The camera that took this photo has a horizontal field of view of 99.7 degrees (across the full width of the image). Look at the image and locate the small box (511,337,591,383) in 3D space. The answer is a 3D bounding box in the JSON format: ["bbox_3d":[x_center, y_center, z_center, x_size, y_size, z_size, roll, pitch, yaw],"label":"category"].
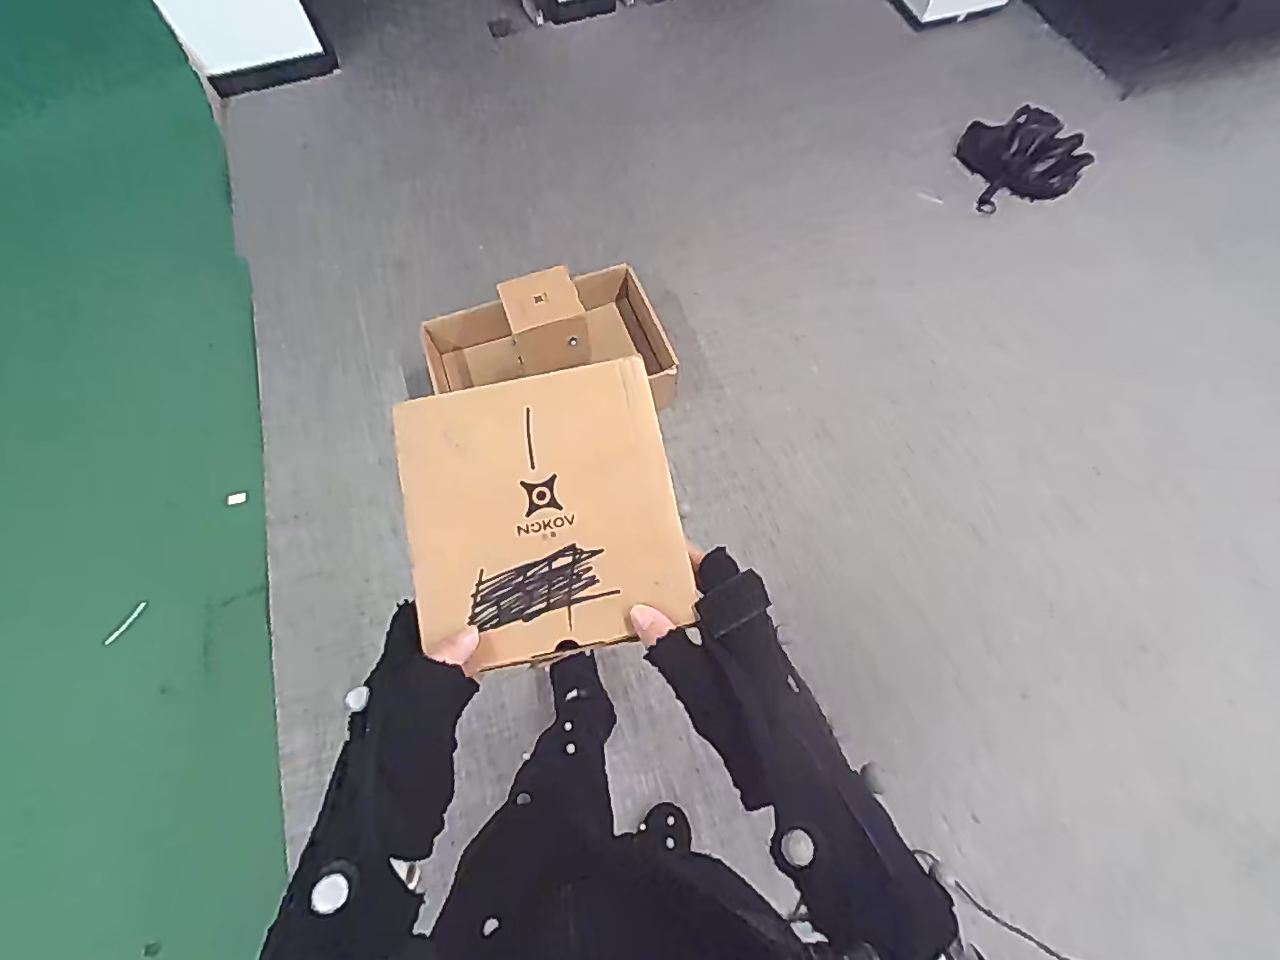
[{"bbox_3d":[-0.236,-0.319,1.499,0.179,0.176,0.168,-21,66,-8],"label":"small box"}]

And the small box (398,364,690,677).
[{"bbox_3d":[-0.063,0.036,0.421,0.168,0.176,0.179,-12,78,-2],"label":"small box"}]

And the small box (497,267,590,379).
[{"bbox_3d":[-0.228,-0.380,1.328,0.179,0.176,0.168,-22,67,-9],"label":"small box"}]
